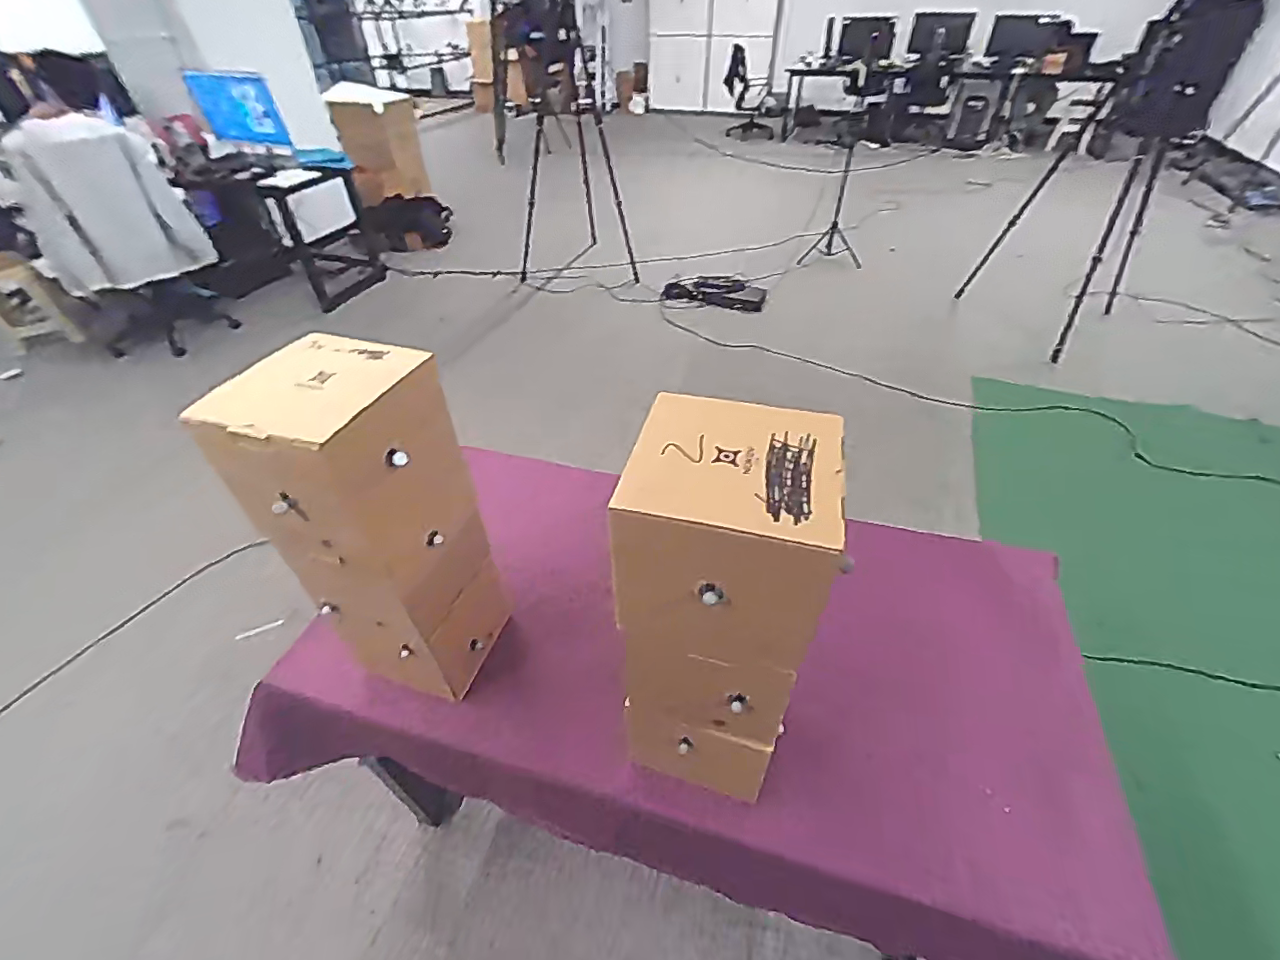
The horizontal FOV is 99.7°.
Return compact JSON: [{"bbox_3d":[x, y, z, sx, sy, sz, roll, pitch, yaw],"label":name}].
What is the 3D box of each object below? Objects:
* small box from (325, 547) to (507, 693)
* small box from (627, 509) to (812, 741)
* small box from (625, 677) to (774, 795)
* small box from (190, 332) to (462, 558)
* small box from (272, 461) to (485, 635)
[{"bbox_3d":[-0.328,0.199,0.830,0.179,0.176,0.168,12,44,12],"label":"small box"},{"bbox_3d":[0.091,0.165,0.618,0.168,0.176,0.179,12,43,13],"label":"small box"},{"bbox_3d":[0.091,0.289,0.724,0.179,0.176,0.168,13,45,15],"label":"small box"},{"bbox_3d":[-0.323,-0.039,0.603,0.168,0.176,0.179,13,45,12],"label":"small box"},{"bbox_3d":[-0.326,0.077,0.721,0.168,0.176,0.179,12,42,12],"label":"small box"}]
